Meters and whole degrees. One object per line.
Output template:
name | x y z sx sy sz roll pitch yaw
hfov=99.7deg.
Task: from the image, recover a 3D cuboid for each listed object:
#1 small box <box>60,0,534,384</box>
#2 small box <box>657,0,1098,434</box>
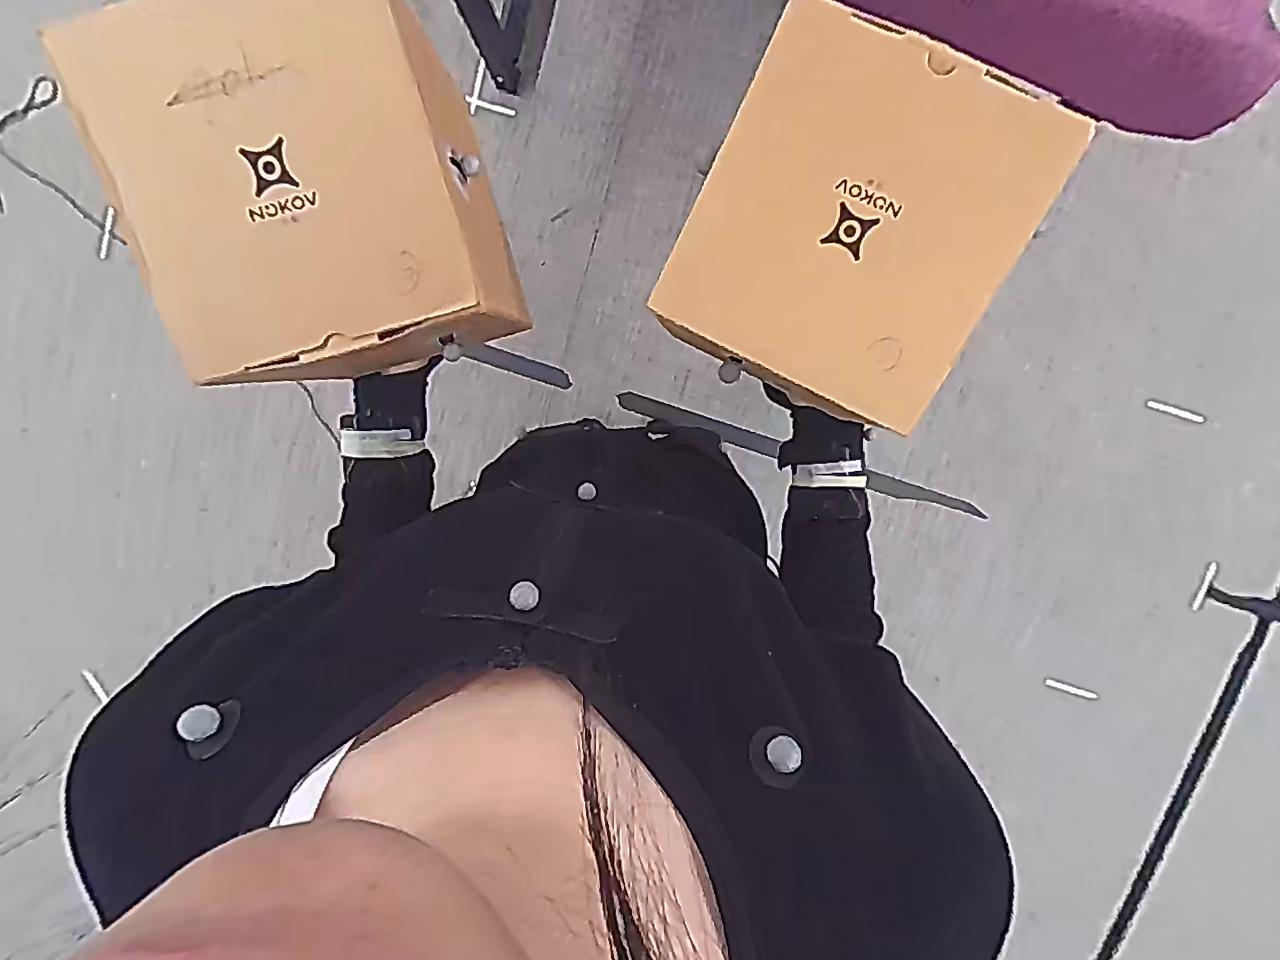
small box | -0.179 -0.170 0.350 0.168 0.176 0.179 -15 102 1
small box | 0.130 -0.148 0.365 0.168 0.176 0.179 27 101 3
